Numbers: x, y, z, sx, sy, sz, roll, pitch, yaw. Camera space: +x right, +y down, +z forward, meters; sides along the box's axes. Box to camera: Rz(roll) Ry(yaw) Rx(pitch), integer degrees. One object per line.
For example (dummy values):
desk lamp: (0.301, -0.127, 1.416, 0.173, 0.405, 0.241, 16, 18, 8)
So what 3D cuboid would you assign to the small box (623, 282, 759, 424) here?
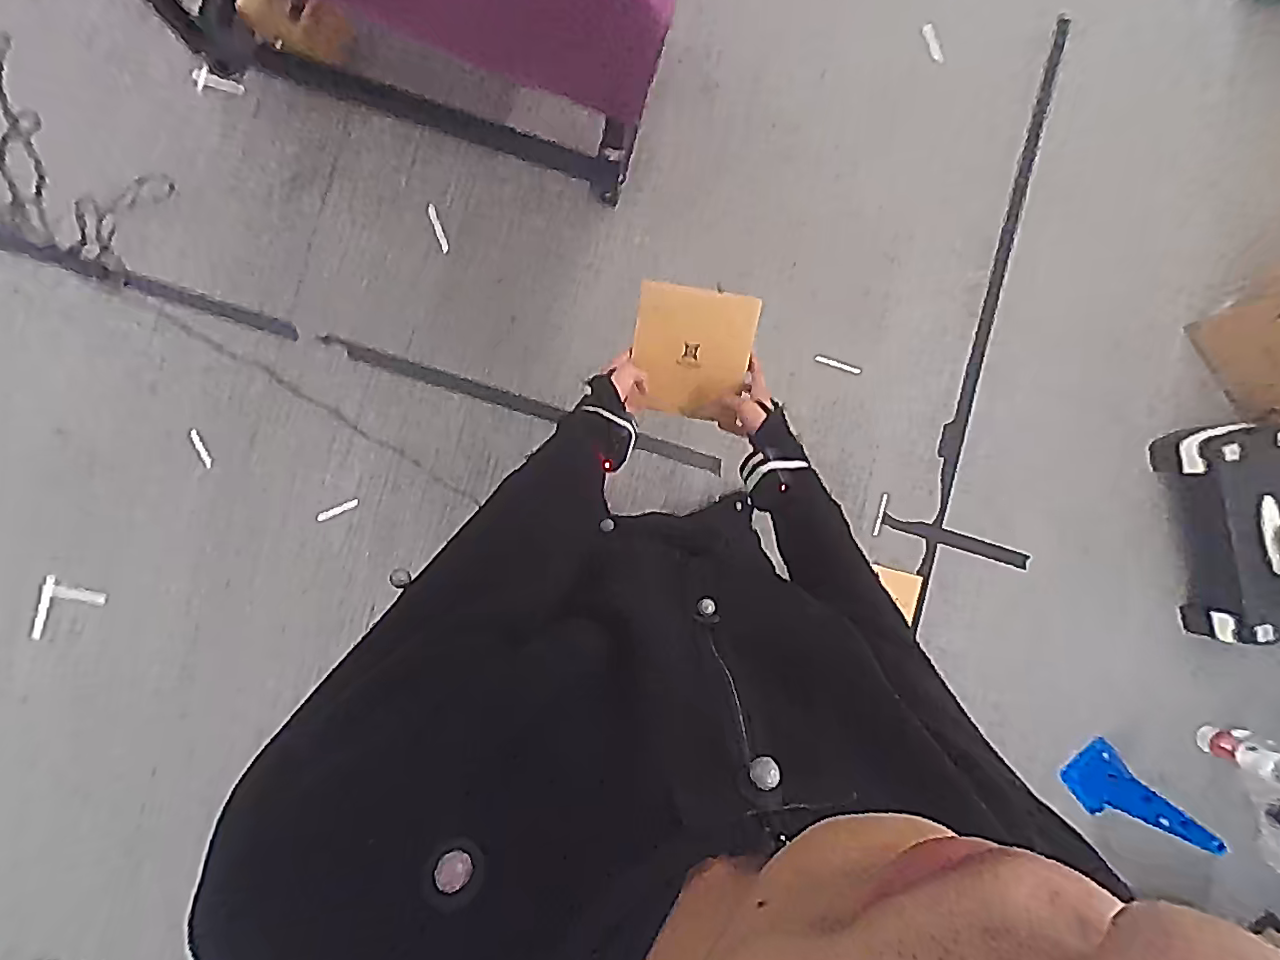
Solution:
small box: (0.079, -0.202, 0.828, 0.168, 0.176, 0.179, 11, 112, 7)
